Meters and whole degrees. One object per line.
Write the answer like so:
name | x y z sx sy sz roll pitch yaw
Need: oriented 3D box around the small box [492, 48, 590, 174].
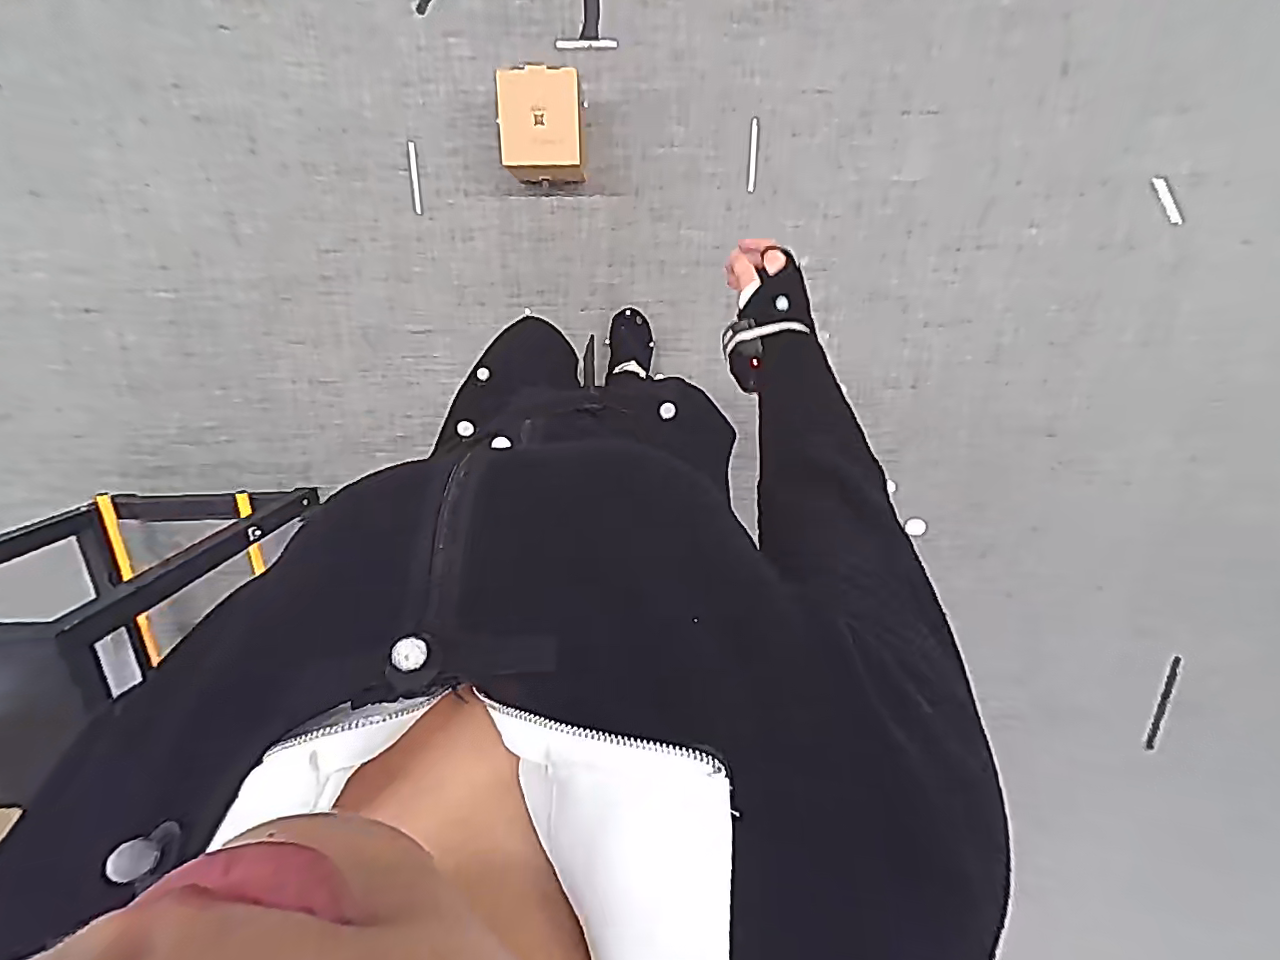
small box | -0.192 -0.737 1.097 0.168 0.176 0.179 -1 109 1
